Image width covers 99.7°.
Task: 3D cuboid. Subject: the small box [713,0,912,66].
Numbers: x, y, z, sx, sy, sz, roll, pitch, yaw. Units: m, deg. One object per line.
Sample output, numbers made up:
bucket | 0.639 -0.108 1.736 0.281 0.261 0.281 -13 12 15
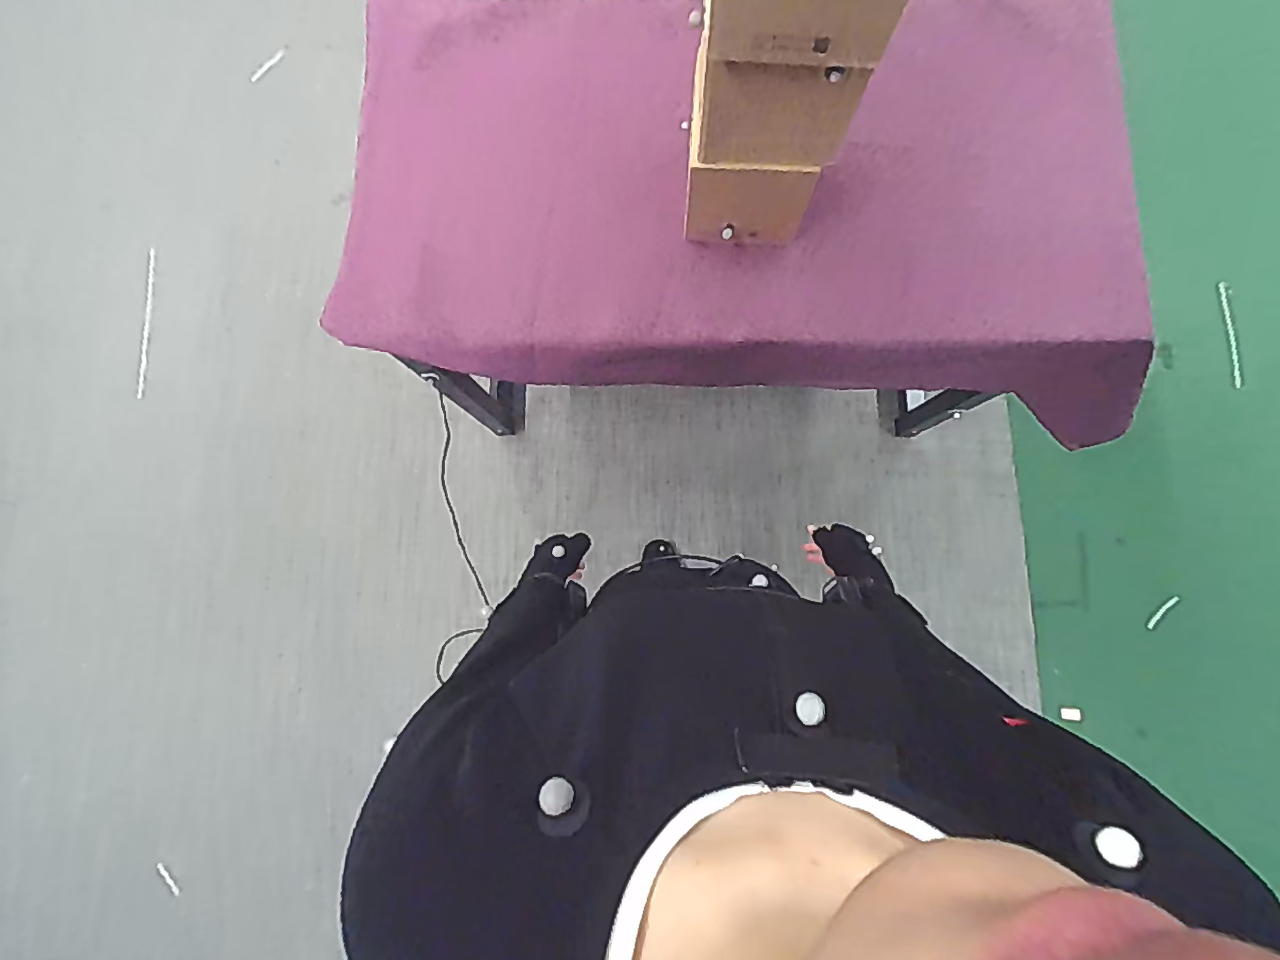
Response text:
small box | 0.152 -0.488 0.436 0.168 0.176 0.179 5 81 3

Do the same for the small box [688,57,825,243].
small box | 0.157 -0.464 0.761 0.168 0.176 0.179 4 83 3

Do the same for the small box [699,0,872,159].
small box | 0.158 -0.488 0.601 0.179 0.176 0.168 3 82 3
